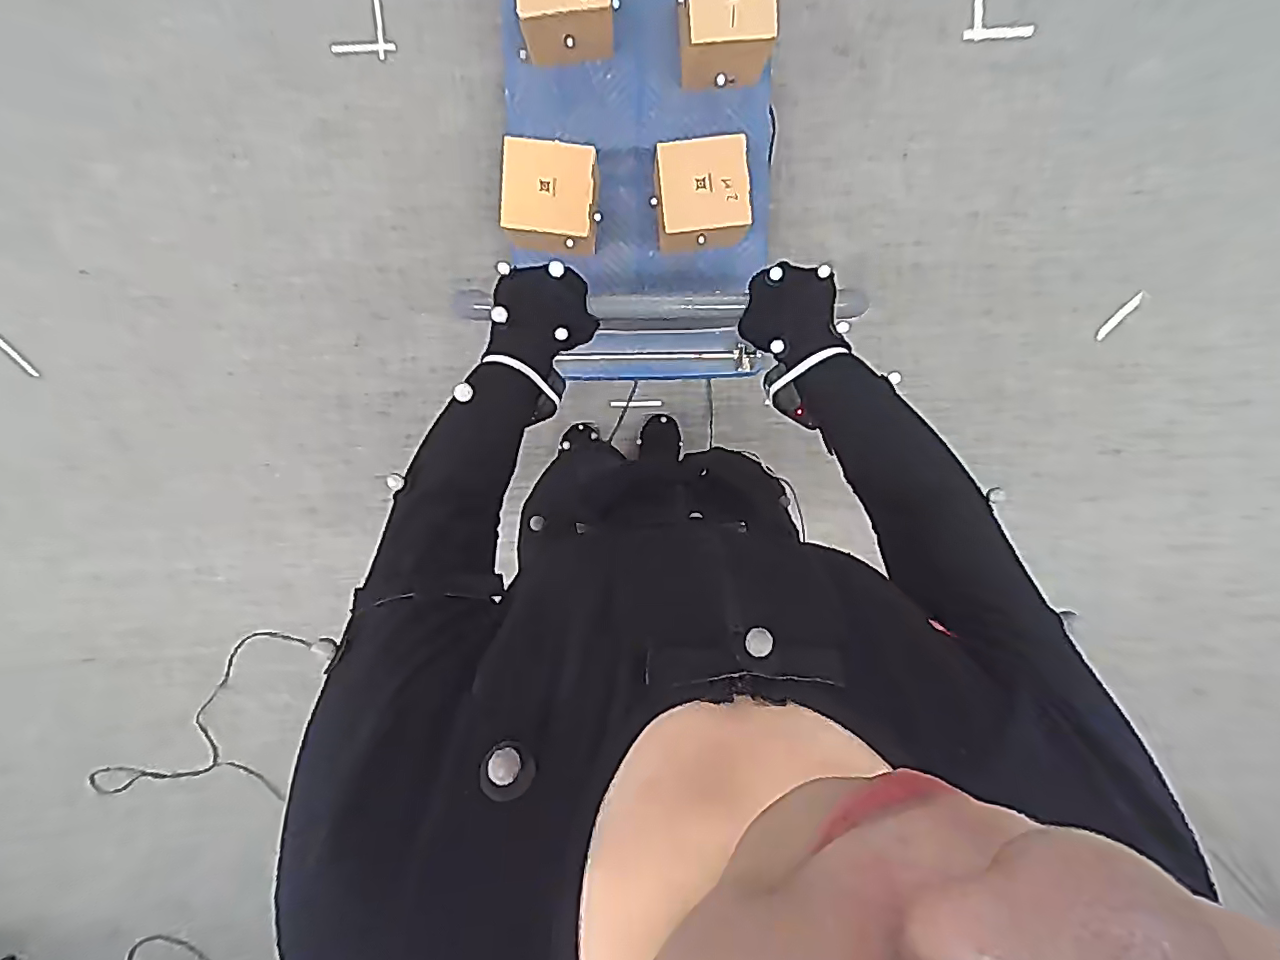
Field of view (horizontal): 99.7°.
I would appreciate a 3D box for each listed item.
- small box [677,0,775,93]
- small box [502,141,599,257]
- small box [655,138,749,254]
[{"bbox_3d":[0.166,-0.920,1.086,0.168,0.176,0.179,-5,101,-1],"label":"small box"},{"bbox_3d":[-0.183,-0.580,1.136,0.179,0.176,0.168,4,99,-4],"label":"small box"},{"bbox_3d":[0.123,-0.588,1.141,0.179,0.176,0.168,-6,100,0],"label":"small box"}]
